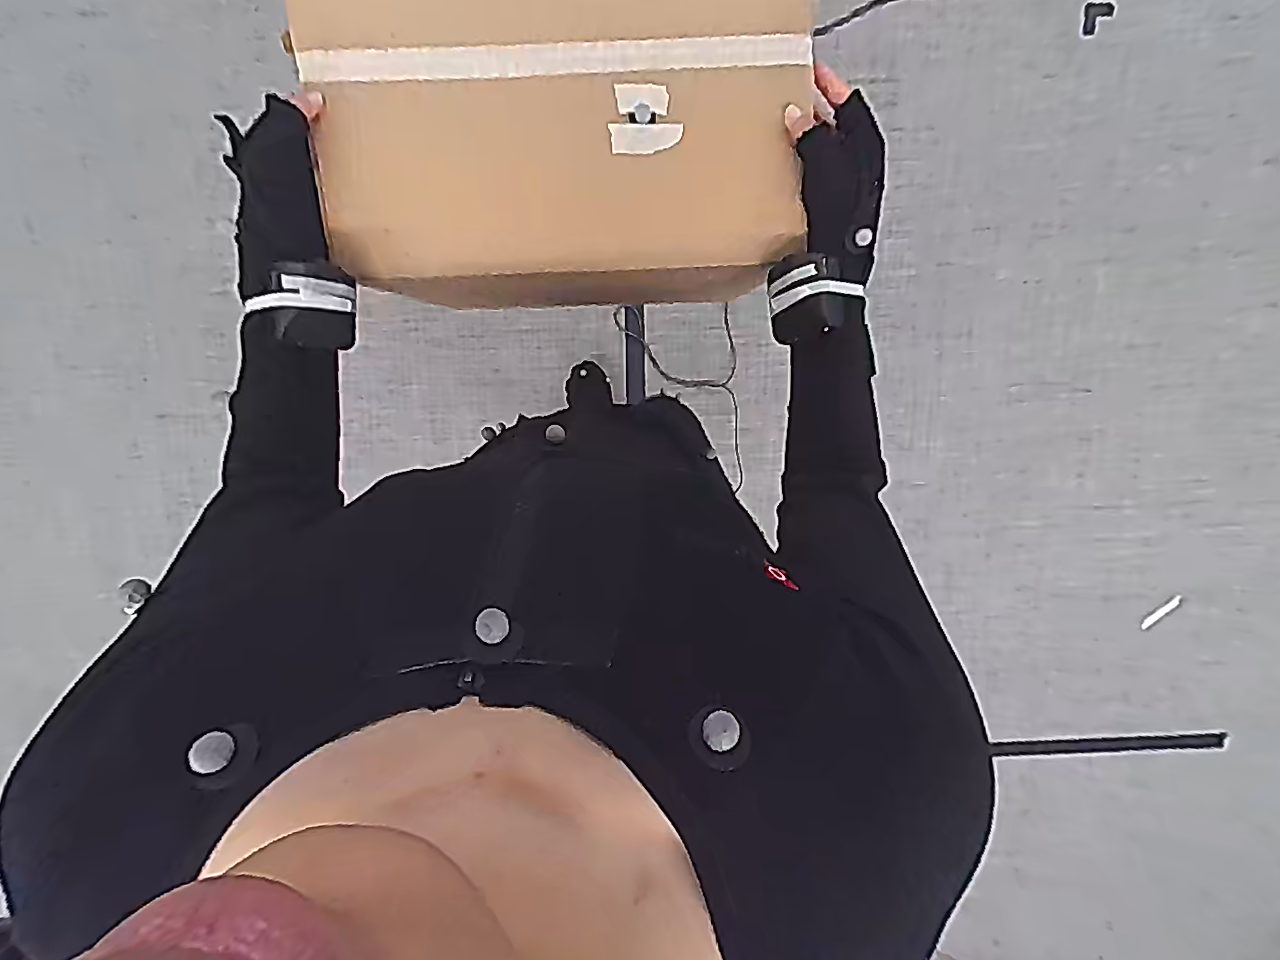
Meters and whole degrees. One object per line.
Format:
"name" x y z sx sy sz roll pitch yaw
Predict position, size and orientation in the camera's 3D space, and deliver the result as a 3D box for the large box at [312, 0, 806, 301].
"large box" -0.068 -0.377 0.587 0.408 0.320 0.320 -2 104 -2
